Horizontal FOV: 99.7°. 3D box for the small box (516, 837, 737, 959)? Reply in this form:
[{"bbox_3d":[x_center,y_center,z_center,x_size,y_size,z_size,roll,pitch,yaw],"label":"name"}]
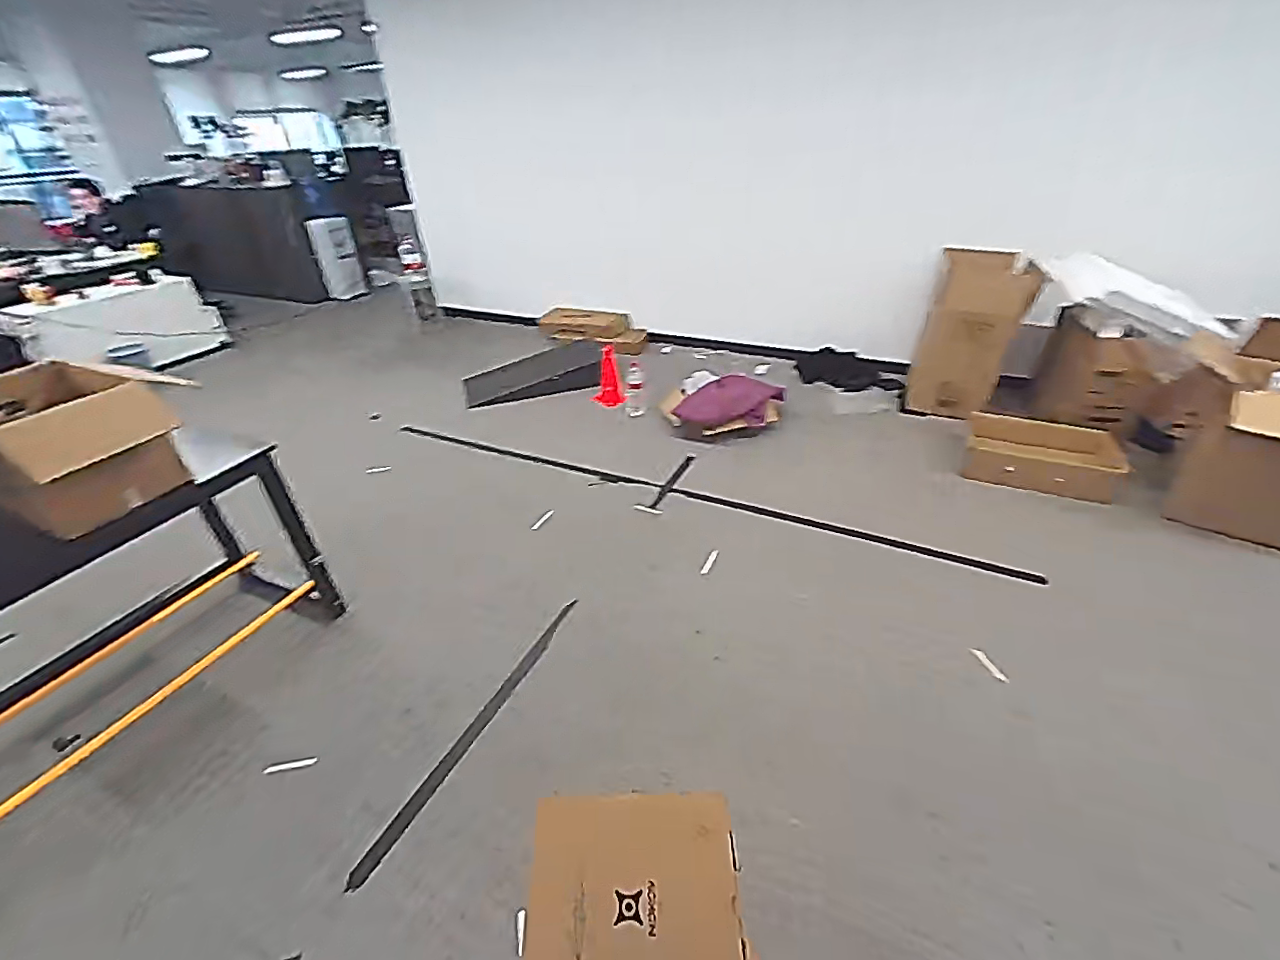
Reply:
[{"bbox_3d":[-0.011,0.430,0.477,0.179,0.176,0.168,-2,45,-1],"label":"small box"}]
